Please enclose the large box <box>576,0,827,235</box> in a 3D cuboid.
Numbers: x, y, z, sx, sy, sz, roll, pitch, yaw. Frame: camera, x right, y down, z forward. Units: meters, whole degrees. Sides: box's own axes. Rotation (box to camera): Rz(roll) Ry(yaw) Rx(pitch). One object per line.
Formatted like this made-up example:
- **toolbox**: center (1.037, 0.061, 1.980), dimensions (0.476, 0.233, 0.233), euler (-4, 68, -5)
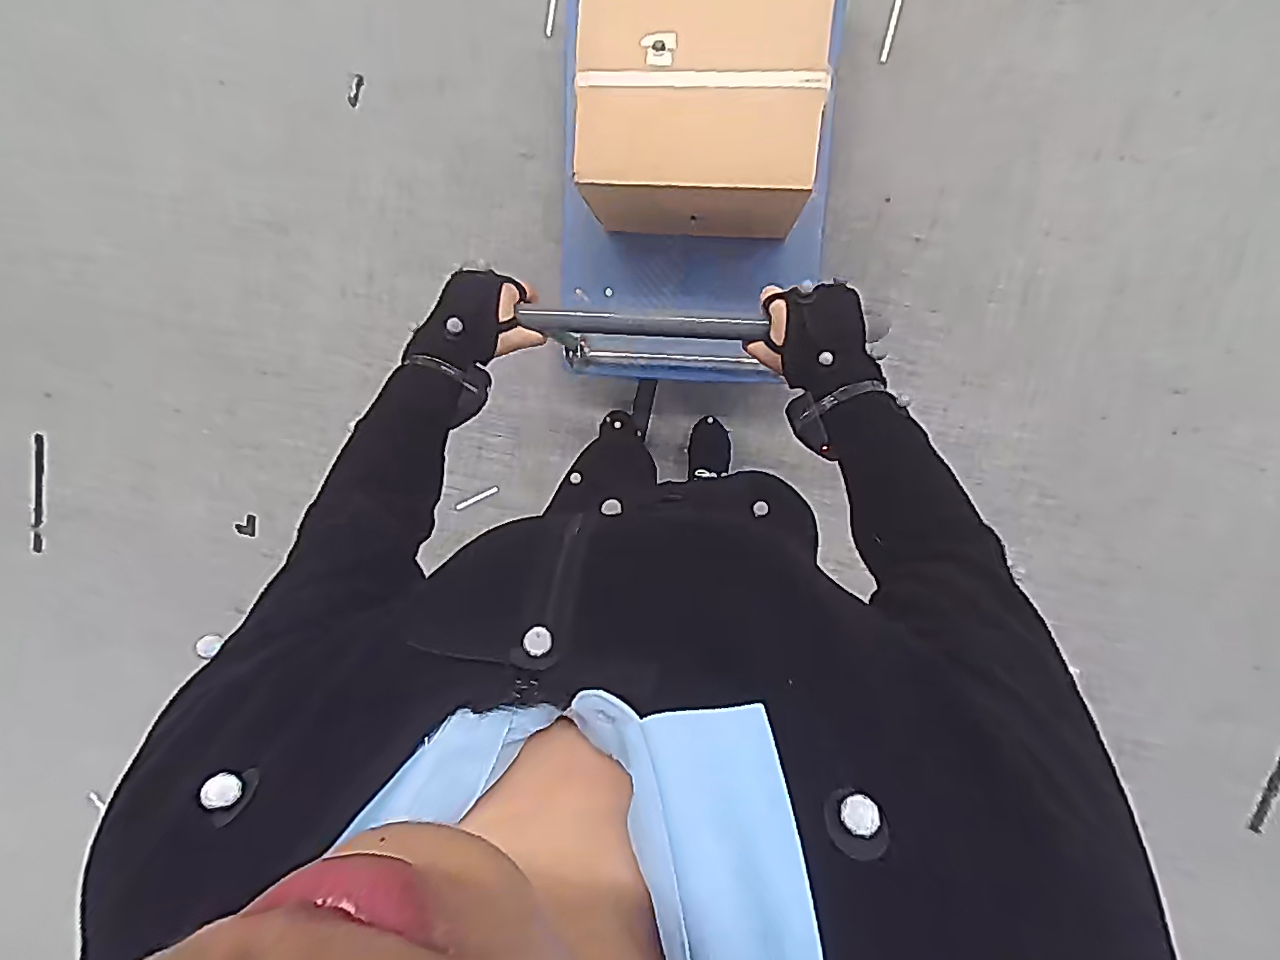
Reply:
- **large box**: center (0.113, -0.673, 1.038), dimensions (0.408, 0.320, 0.320), euler (5, 99, 7)
